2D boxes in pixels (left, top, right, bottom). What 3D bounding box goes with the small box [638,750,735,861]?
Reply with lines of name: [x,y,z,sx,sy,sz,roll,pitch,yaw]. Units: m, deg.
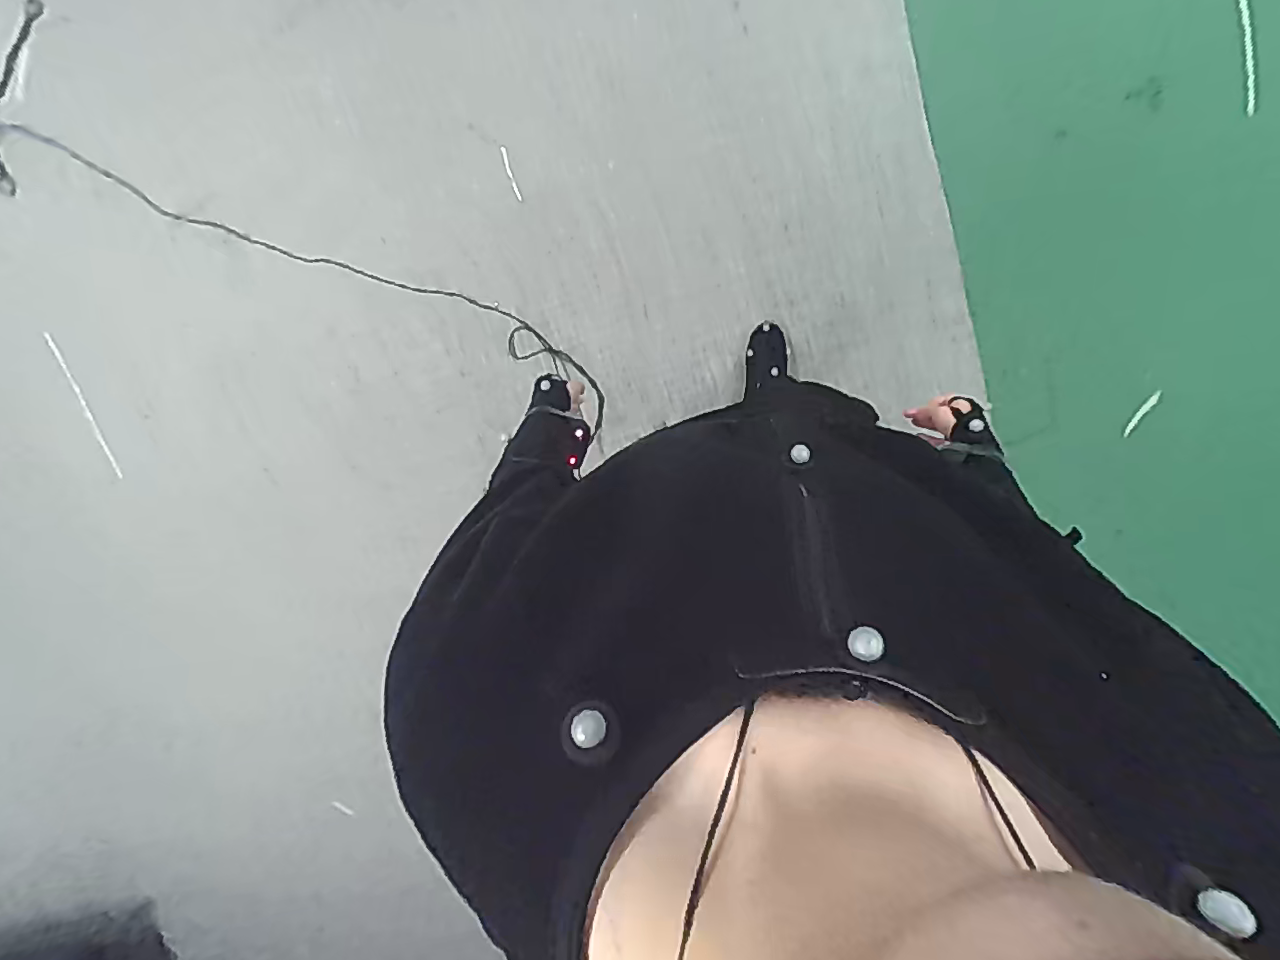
small box: [0.107,0.755,1.246,0.179,0.176,0.168,-17,100,10]

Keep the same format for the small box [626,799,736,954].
small box: [0.087,0.789,1.087,0.168,0.176,0.179,-19,99,9]
